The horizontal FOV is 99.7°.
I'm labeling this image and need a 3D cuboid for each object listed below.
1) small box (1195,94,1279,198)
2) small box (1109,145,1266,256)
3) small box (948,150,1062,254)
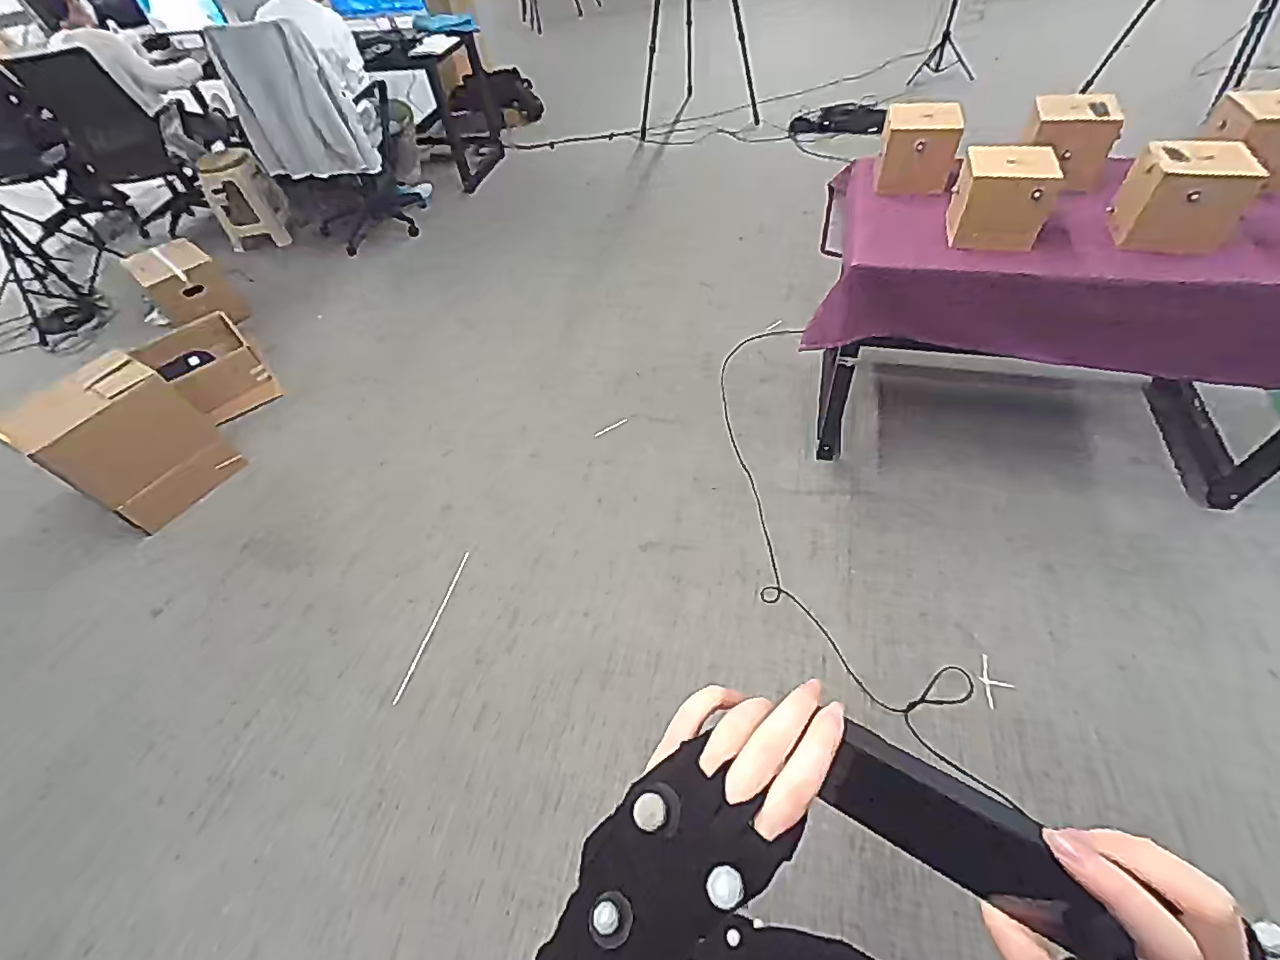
[{"bbox_3d":[1.477,-0.804,1.302,0.168,0.176,0.179,6,53,13],"label":"small box"},{"bbox_3d":[1.184,-0.615,1.193,0.179,0.176,0.168,11,54,15],"label":"small box"},{"bbox_3d":[0.841,-0.652,1.270,0.179,0.176,0.168,10,53,14],"label":"small box"}]
